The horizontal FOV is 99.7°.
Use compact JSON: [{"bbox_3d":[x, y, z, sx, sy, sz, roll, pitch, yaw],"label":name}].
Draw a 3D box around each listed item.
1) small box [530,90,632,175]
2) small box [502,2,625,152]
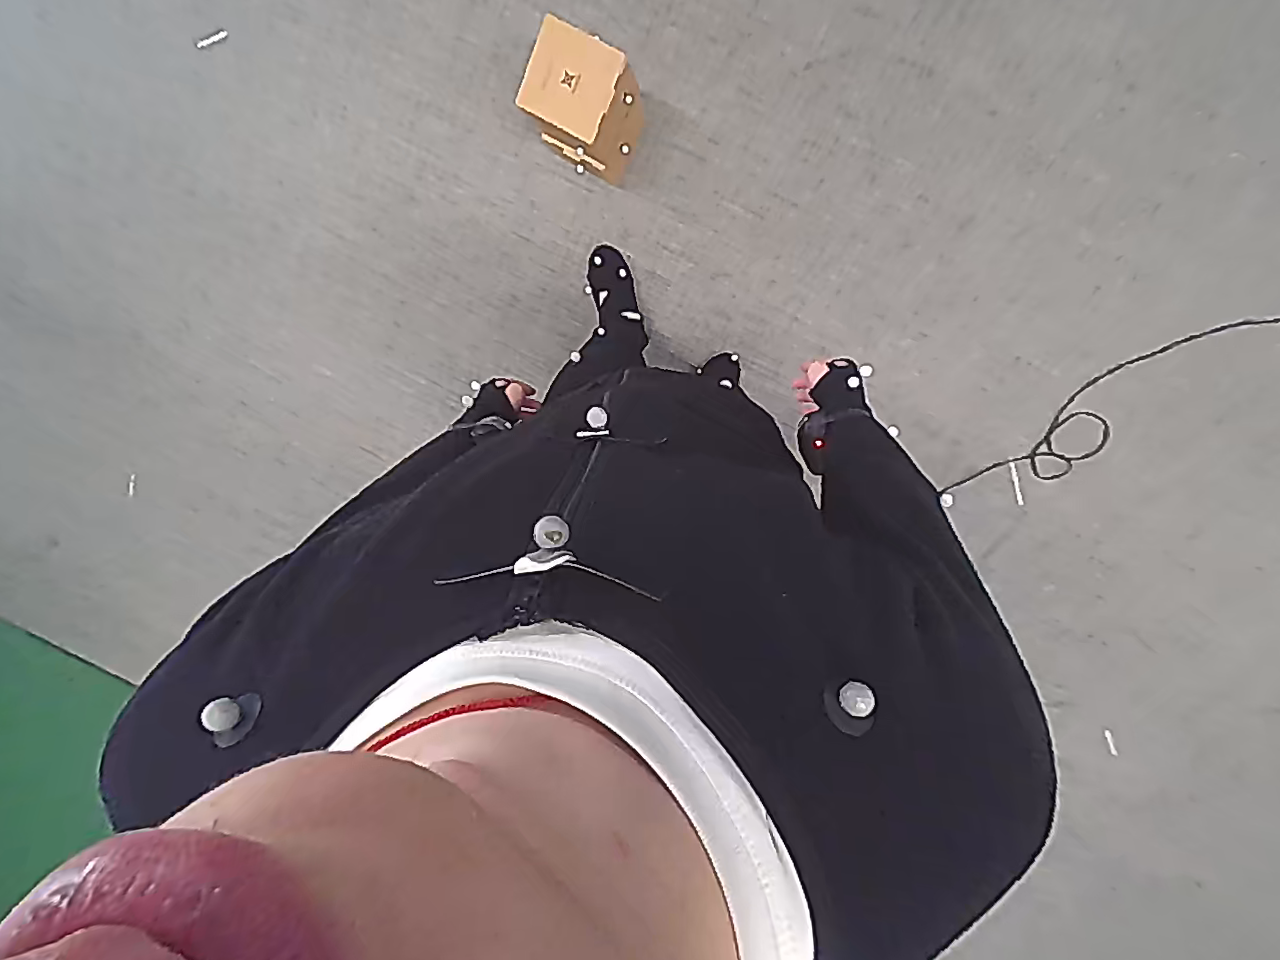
[{"bbox_3d":[-0.131,-0.852,1.271,0.168,0.176,0.179,26,109,0],"label":"small box"},{"bbox_3d":[-0.146,-0.799,1.098,0.179,0.176,0.168,27,108,-1],"label":"small box"}]
